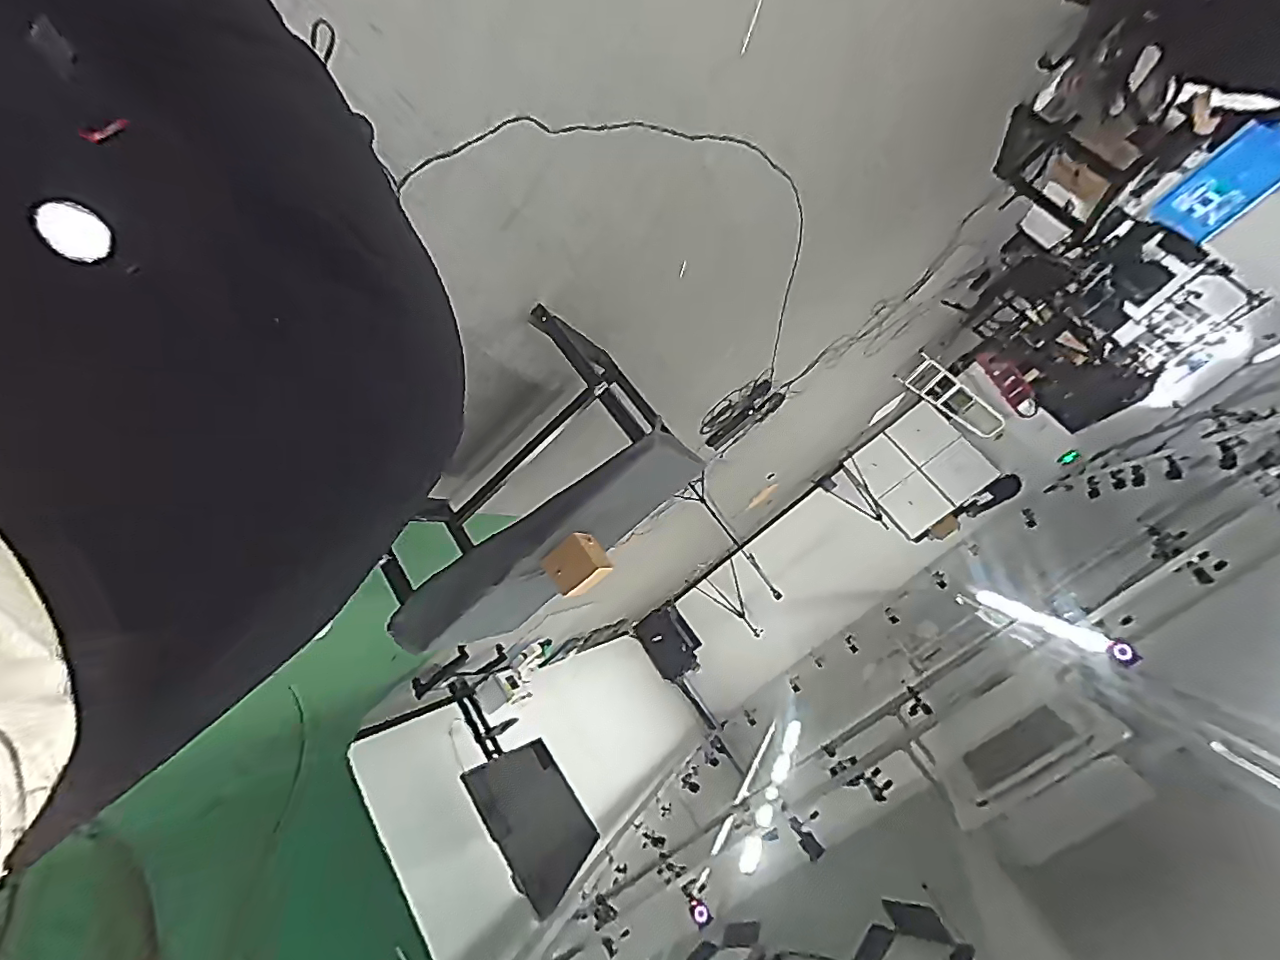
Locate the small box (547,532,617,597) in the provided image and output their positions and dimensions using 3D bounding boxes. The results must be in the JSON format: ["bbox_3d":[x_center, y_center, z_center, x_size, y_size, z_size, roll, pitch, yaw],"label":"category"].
[{"bbox_3d":[-0.224,0.314,2.015,0.179,0.176,0.168,-42,162,9],"label":"small box"}]
